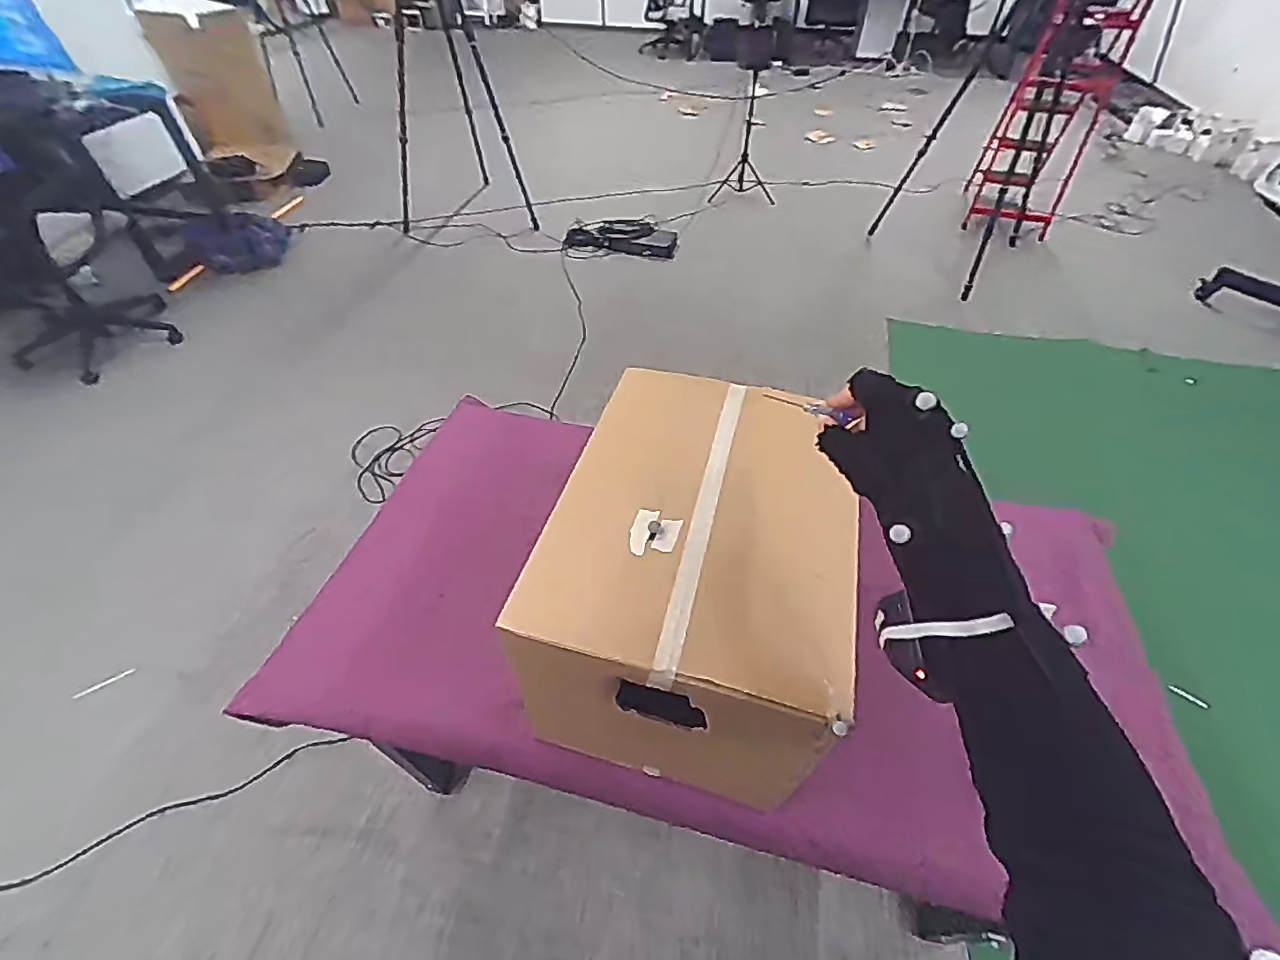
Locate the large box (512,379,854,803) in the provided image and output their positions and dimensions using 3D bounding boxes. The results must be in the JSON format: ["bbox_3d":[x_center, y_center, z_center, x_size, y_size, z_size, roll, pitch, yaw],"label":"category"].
[{"bbox_3d":[0.074,0.132,0.712,0.320,0.320,0.408,13,49,10],"label":"large box"}]
